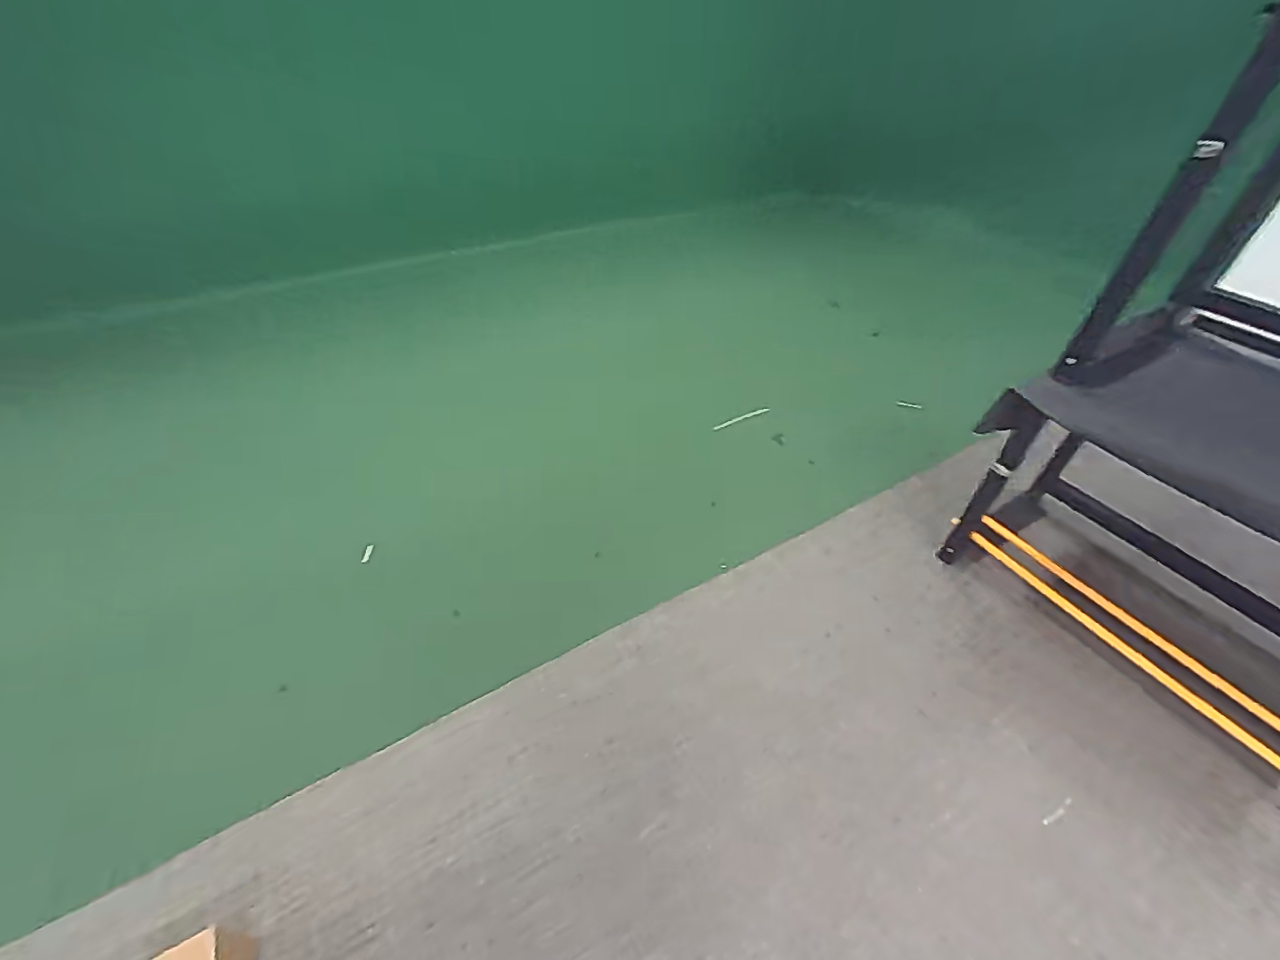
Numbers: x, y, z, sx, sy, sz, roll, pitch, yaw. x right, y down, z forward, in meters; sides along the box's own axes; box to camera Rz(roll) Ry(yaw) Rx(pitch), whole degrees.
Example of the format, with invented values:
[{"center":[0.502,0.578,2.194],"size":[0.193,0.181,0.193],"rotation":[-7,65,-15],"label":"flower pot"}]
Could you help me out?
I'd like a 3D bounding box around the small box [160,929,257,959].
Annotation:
[{"center":[-0.835,0.985,0.999],"size":[0.179,0.176,0.168],"rotation":[-22,47,-22],"label":"small box"}]
